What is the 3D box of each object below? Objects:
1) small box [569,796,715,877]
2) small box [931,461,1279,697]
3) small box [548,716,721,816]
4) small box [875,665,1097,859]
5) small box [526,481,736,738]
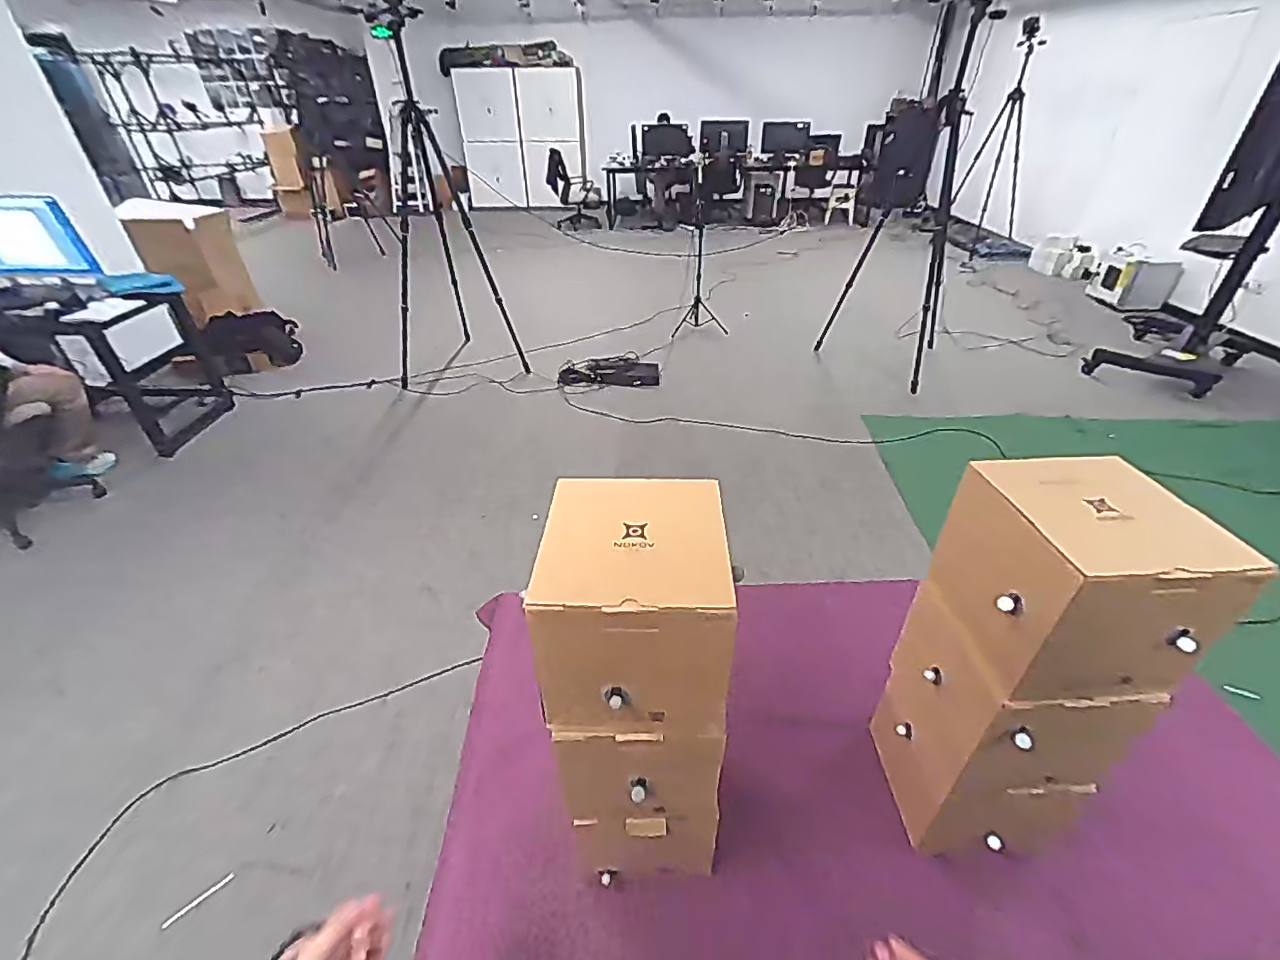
[{"bbox_3d":[0.003,0.392,0.708,0.168,0.176,0.179,-2,34,-2],"label":"small box"},{"bbox_3d":[0.428,0.099,0.542,0.168,0.176,0.179,-2,34,-1],"label":"small box"},{"bbox_3d":[-0.003,0.258,0.614,0.168,0.176,0.179,-1,36,0],"label":"small box"},{"bbox_3d":[0.436,0.372,0.723,0.168,0.176,0.179,-1,35,2],"label":"small box"},{"bbox_3d":[-0.004,0.120,0.526,0.168,0.176,0.179,1,35,2],"label":"small box"}]
